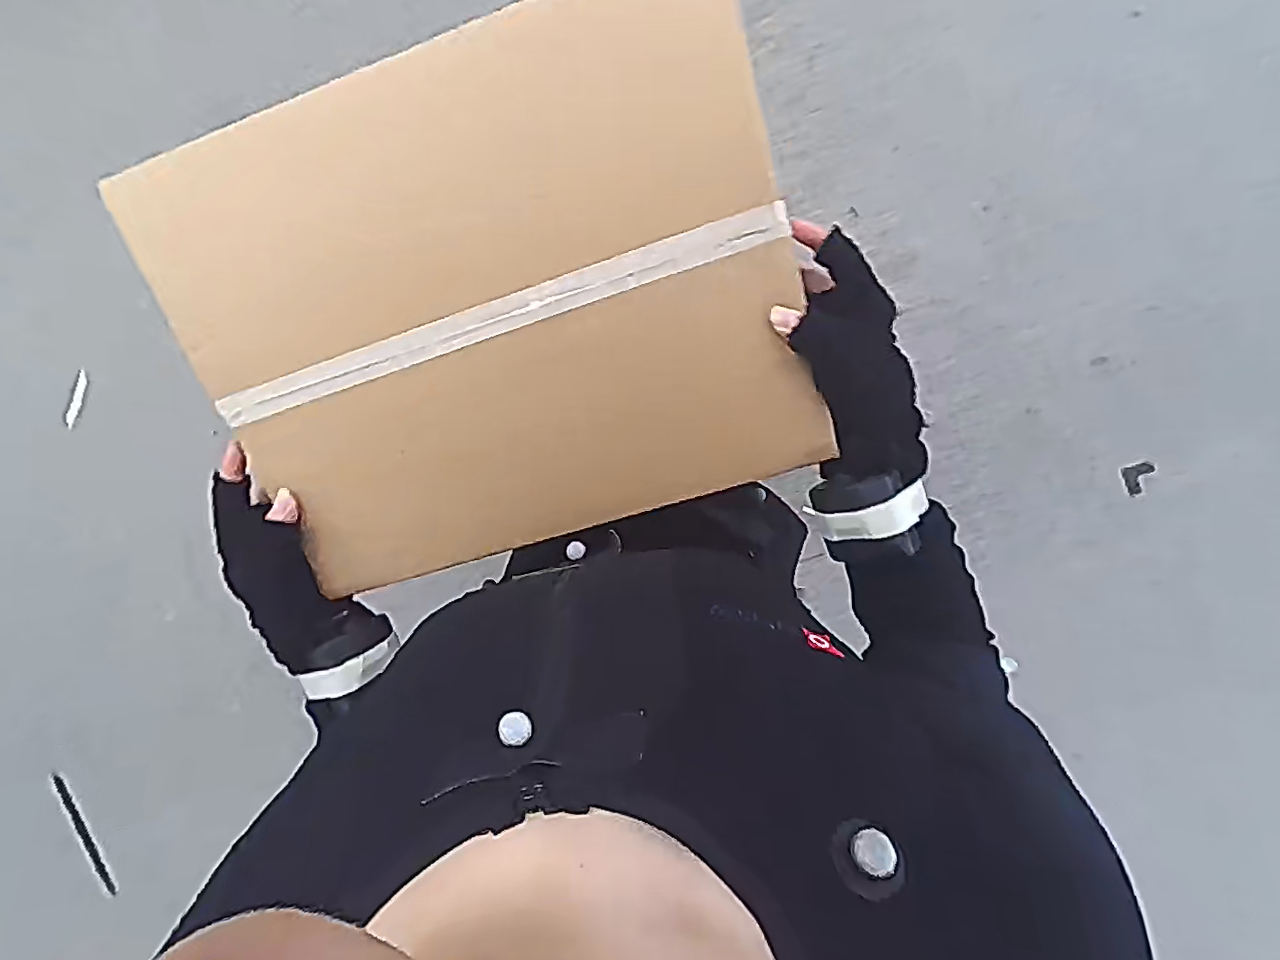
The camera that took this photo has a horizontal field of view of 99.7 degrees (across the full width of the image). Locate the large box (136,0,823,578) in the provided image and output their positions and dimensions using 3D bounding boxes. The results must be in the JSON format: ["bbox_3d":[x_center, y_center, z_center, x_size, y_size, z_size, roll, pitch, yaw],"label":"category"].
[{"bbox_3d":[-0.096,-0.157,0.511,0.408,0.320,0.320,-16,107,8],"label":"large box"}]
